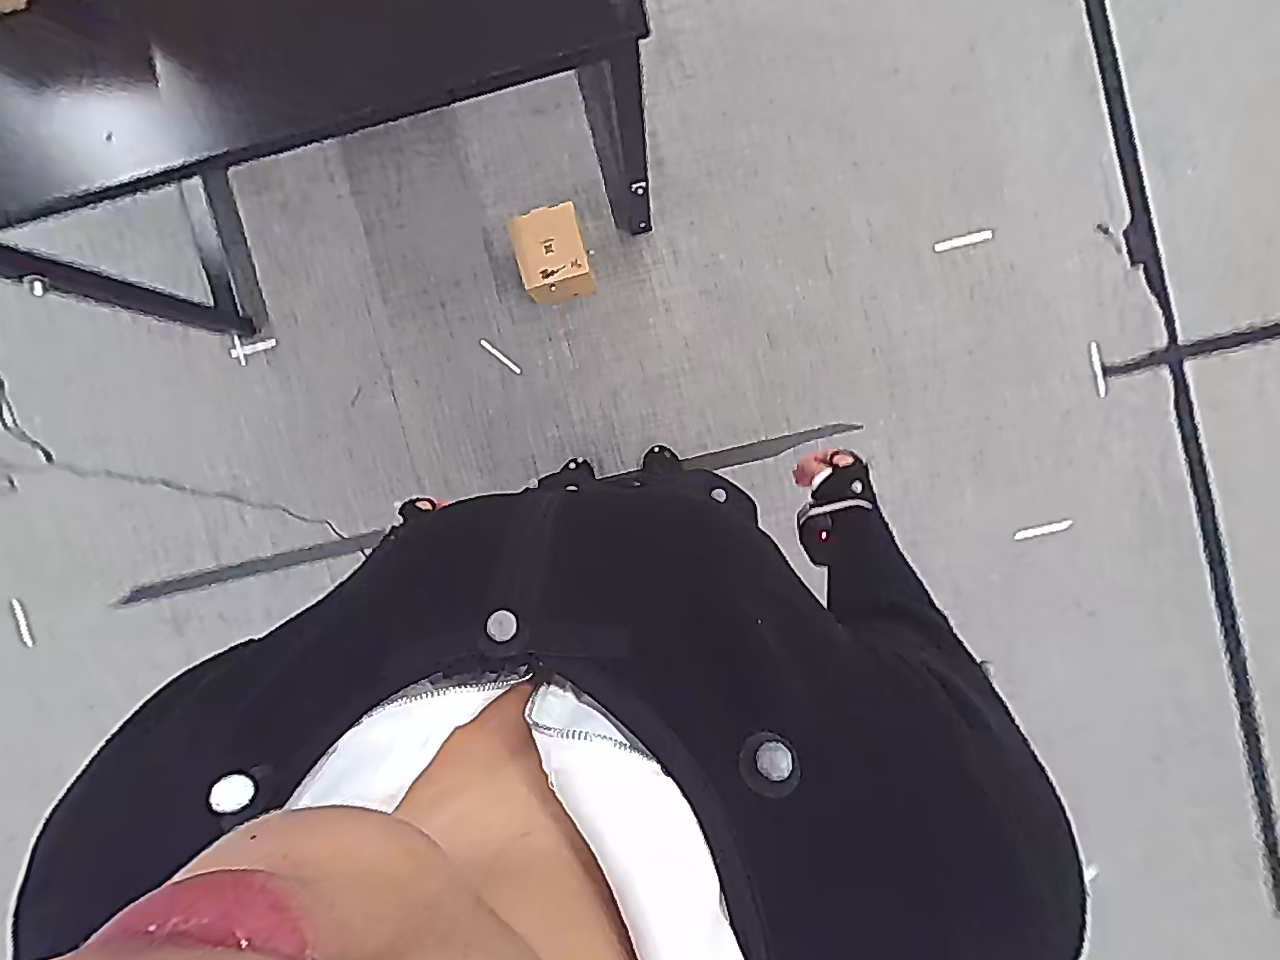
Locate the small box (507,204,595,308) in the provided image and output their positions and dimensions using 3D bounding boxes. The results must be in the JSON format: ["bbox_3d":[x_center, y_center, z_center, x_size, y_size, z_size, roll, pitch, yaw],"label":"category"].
[{"bbox_3d":[-0.222,-0.567,1.387,0.168,0.176,0.179,-15,92,4],"label":"small box"}]
